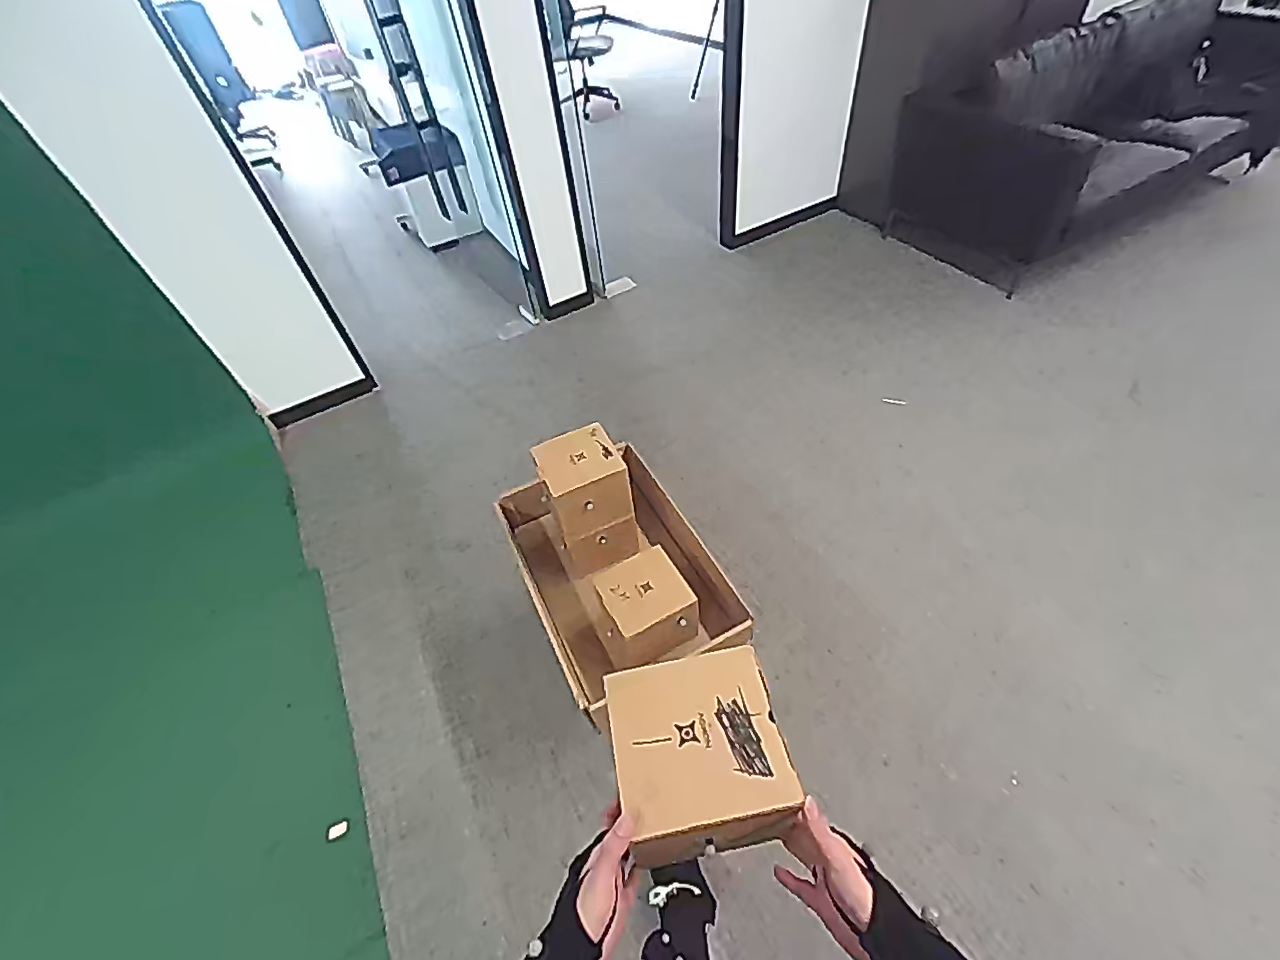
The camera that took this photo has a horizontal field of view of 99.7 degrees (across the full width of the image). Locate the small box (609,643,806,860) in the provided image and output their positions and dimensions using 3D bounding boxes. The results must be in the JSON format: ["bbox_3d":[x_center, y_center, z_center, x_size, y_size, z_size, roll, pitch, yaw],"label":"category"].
[{"bbox_3d":[0.066,0.312,0.620,0.179,0.176,0.168,-10,47,-4],"label":"small box"}]

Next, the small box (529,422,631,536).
[{"bbox_3d":[-0.133,0.002,1.249,0.179,0.176,0.168,-23,53,-13],"label":"small box"}]

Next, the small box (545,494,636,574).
[{"bbox_3d":[-0.122,0.111,1.371,0.179,0.176,0.168,-21,51,-13],"label":"small box"}]

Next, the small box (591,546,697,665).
[{"bbox_3d":[0.011,0.283,1.204,0.179,0.176,0.168,-25,51,-15],"label":"small box"}]
